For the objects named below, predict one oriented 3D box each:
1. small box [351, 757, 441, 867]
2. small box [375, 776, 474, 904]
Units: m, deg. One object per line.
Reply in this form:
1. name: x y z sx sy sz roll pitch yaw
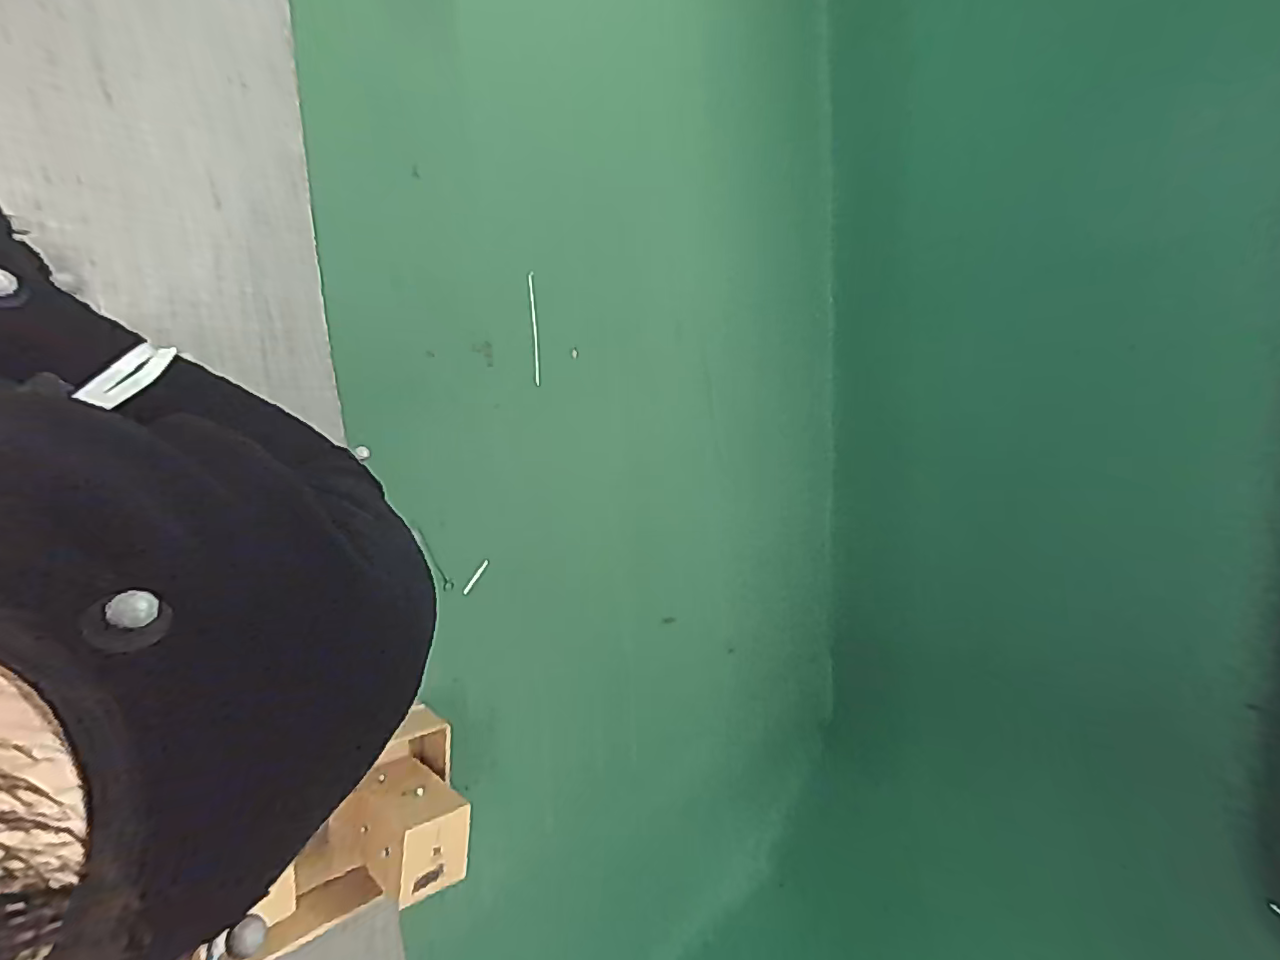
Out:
1. small box: -0.645 0.859 1.429 0.168 0.176 0.179 3 90 -47
2. small box: -0.527 0.863 1.315 0.168 0.176 0.179 5 87 -47
